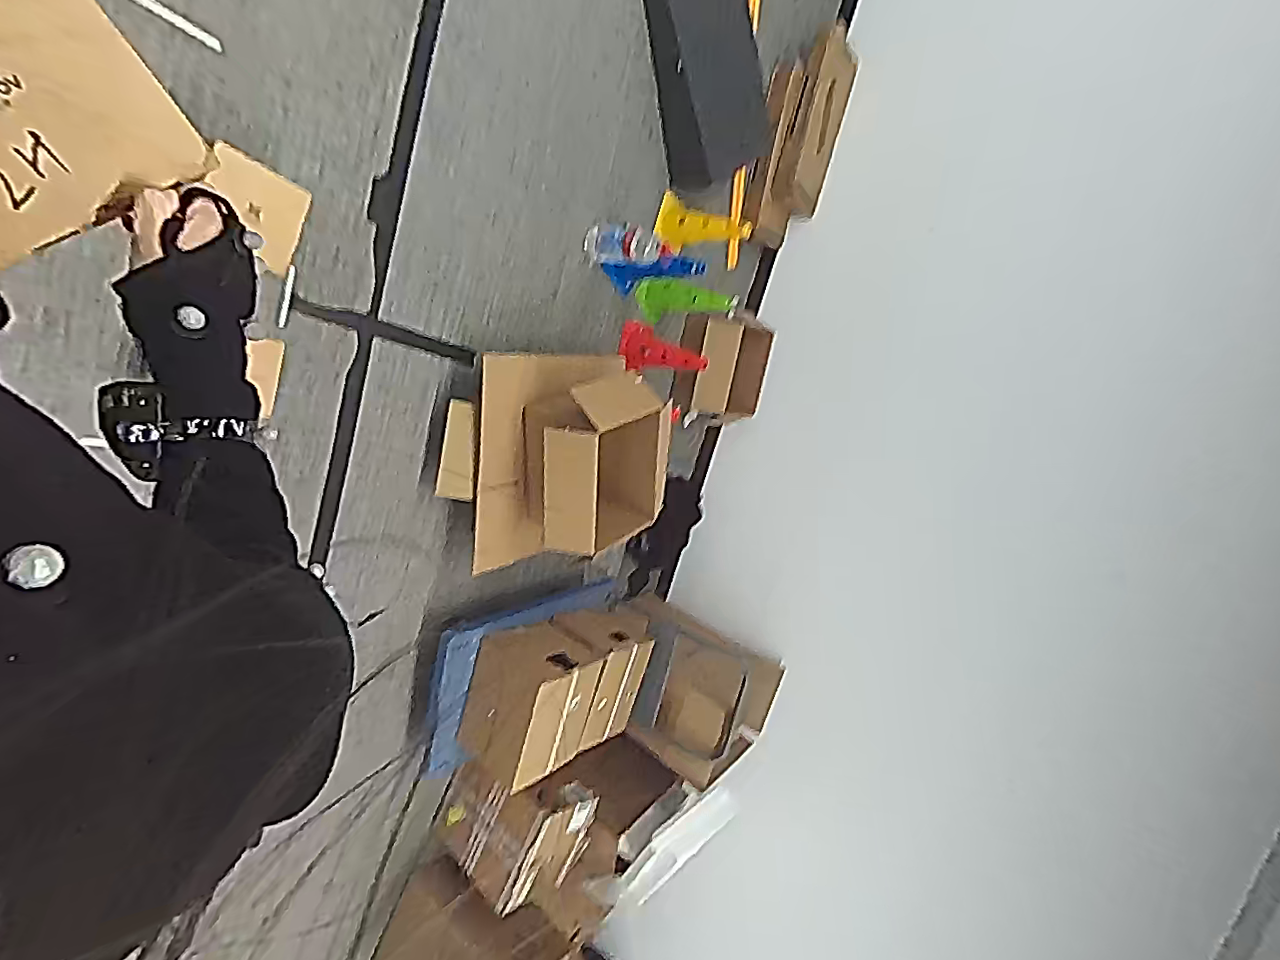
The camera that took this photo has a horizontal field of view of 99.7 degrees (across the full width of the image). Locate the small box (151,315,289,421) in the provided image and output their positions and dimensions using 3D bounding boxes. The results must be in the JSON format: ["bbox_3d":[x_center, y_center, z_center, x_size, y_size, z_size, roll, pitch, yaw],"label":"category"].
[{"bbox_3d":[-0.869,-0.231,1.116,0.179,0.176,0.168,5,105,-56],"label":"small box"}]

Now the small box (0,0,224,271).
[{"bbox_3d":[-0.433,-0.277,0.349,0.168,0.176,0.179,-40,148,-15],"label":"small box"}]

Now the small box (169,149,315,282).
[{"bbox_3d":[-0.788,-0.519,1.067,0.168,0.176,0.179,17,95,-57],"label":"small box"}]
